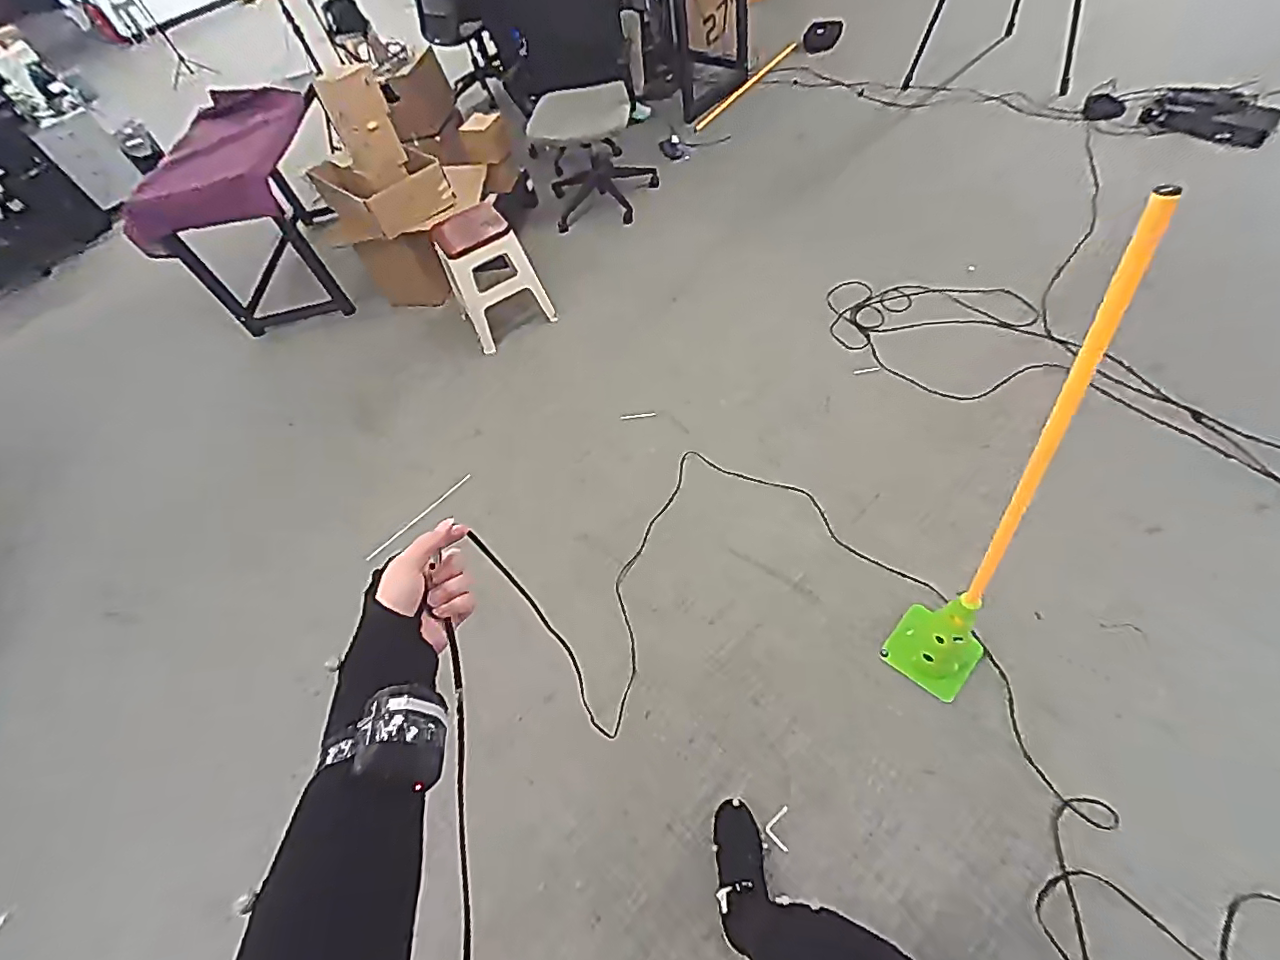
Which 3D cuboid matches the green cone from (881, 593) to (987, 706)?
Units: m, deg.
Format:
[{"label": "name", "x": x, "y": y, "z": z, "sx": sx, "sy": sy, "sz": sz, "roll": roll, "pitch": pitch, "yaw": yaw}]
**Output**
[{"label": "green cone", "x": 0.751, "y": 0.368, "z": 1.299, "sx": 0.200, "sy": 0.368, "sz": 0.202, "roll": 34, "pitch": 67, "yaw": 29}]
